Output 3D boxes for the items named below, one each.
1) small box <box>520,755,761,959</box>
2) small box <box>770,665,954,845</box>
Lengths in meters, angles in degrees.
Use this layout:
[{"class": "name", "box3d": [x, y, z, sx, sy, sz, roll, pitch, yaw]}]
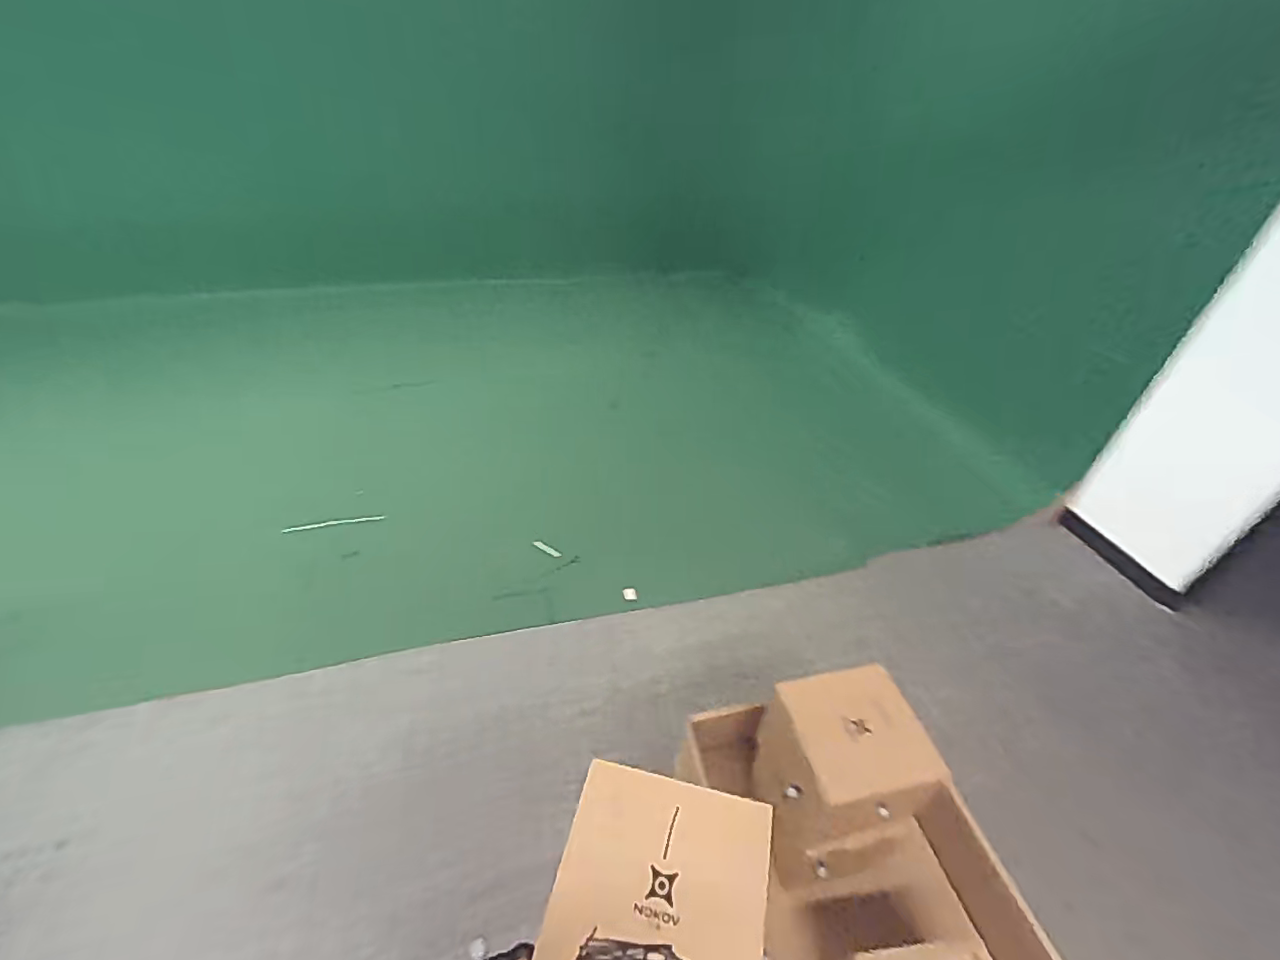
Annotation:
[{"class": "small box", "box3d": [0.009, 0.382, 0.478, 0.168, 0.176, 0.179, 9, 44, 11]}, {"class": "small box", "box3d": [0.301, 0.398, 0.783, 0.179, 0.176, 0.168, -6, 41, -10]}]
